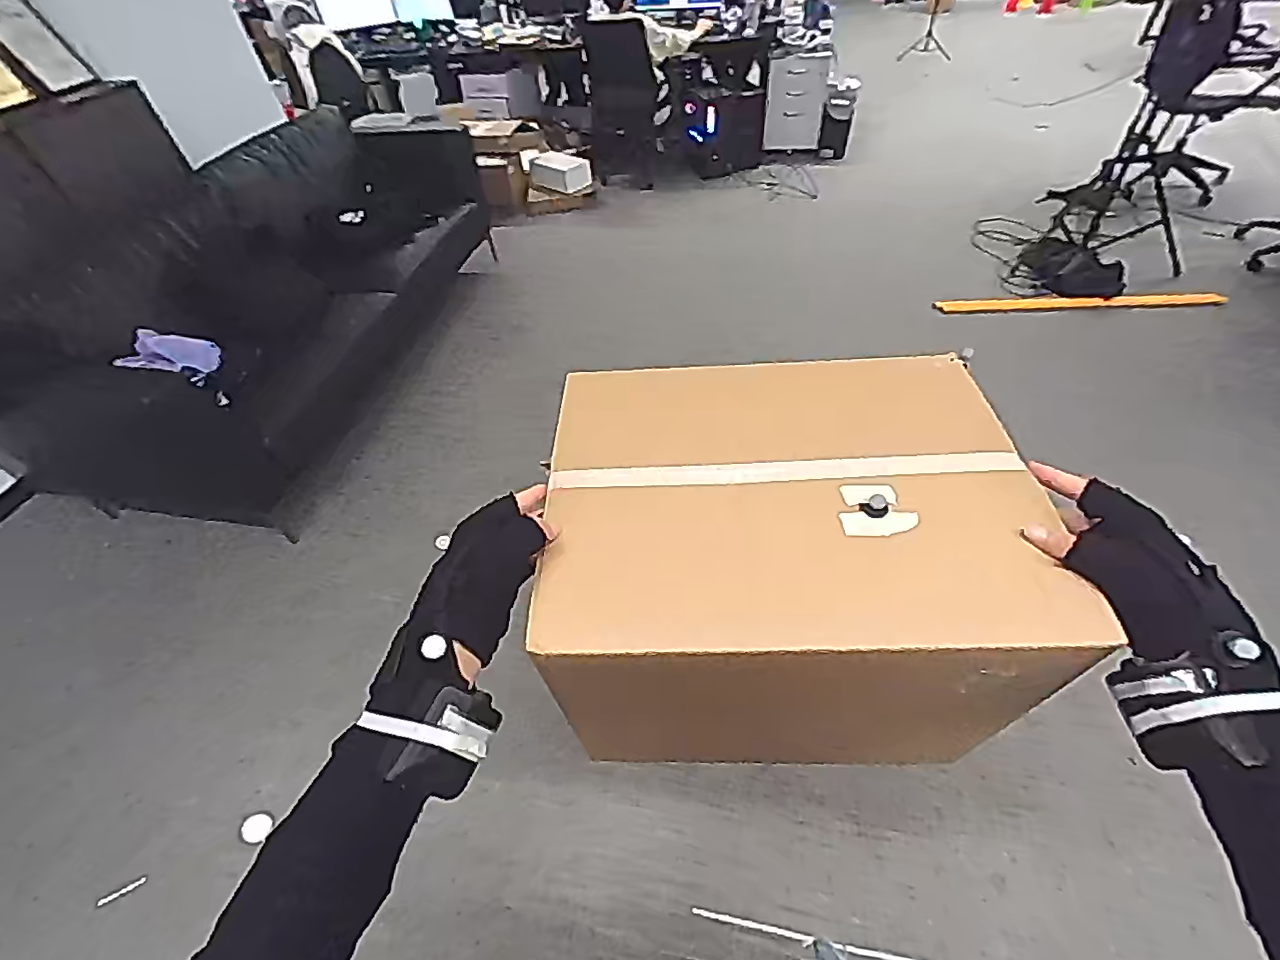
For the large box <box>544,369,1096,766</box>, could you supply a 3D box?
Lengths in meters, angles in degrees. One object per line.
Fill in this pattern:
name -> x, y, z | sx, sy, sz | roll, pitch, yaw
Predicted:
large box -> 0.131, 0.103, 0.594 | 0.408, 0.320, 0.320 | -2, 49, 3
